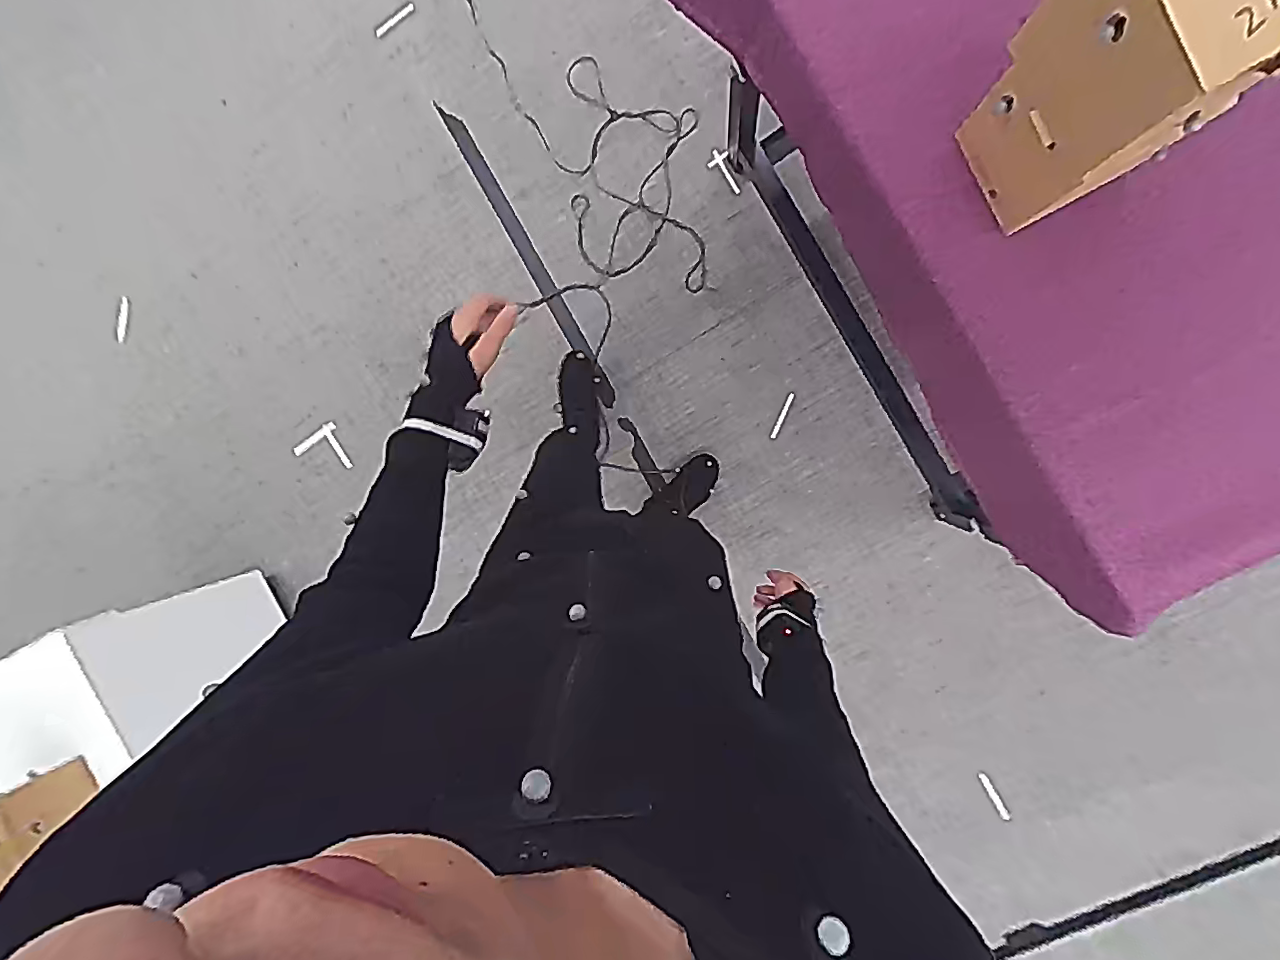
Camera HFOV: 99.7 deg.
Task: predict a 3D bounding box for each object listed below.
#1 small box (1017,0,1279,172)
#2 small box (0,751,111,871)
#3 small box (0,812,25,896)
[{"bbox_3d":[0.518,-0.450,0.525,0.168,0.176,0.179,-27,92,9],"label":"small box"},{"bbox_3d":[-1.358,0.752,1.209,0.168,0.176,0.179,-26,91,9],"label":"small box"},{"bbox_3d":[-1.371,0.783,1.049,0.179,0.176,0.168,-24,92,10],"label":"small box"}]
